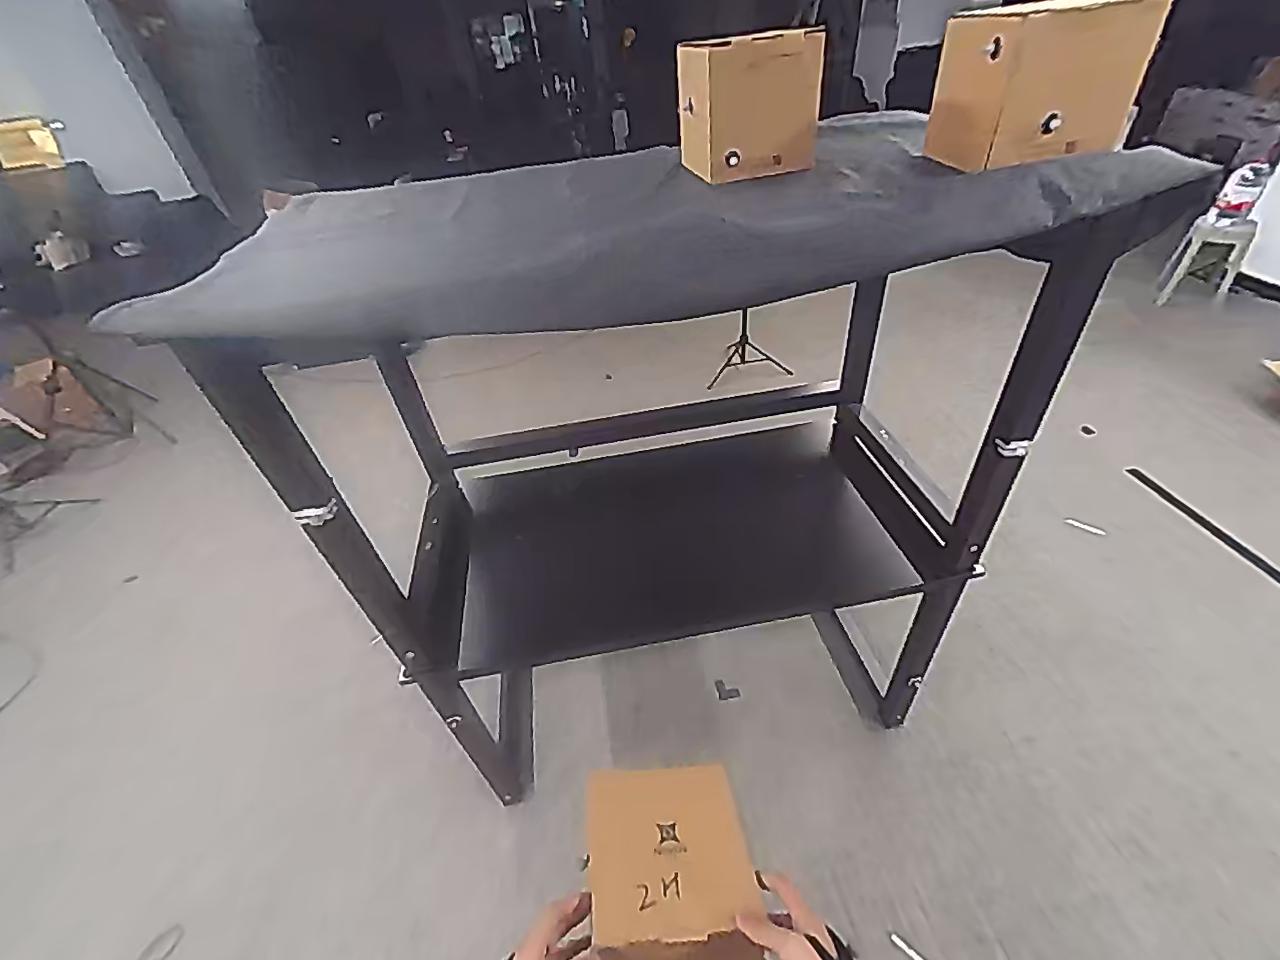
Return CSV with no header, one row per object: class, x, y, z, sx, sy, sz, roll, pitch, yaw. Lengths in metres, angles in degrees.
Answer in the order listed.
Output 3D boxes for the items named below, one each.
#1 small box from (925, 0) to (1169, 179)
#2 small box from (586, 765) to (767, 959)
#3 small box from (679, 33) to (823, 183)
small box,0.510,-0.513,0.716,0.168,0.176,0.179,-7,40,1
small box,0.025,0.453,0.600,0.168,0.176,0.179,0,24,-7
small box,0.164,-0.574,0.840,0.168,0.176,0.179,-11,40,-5
